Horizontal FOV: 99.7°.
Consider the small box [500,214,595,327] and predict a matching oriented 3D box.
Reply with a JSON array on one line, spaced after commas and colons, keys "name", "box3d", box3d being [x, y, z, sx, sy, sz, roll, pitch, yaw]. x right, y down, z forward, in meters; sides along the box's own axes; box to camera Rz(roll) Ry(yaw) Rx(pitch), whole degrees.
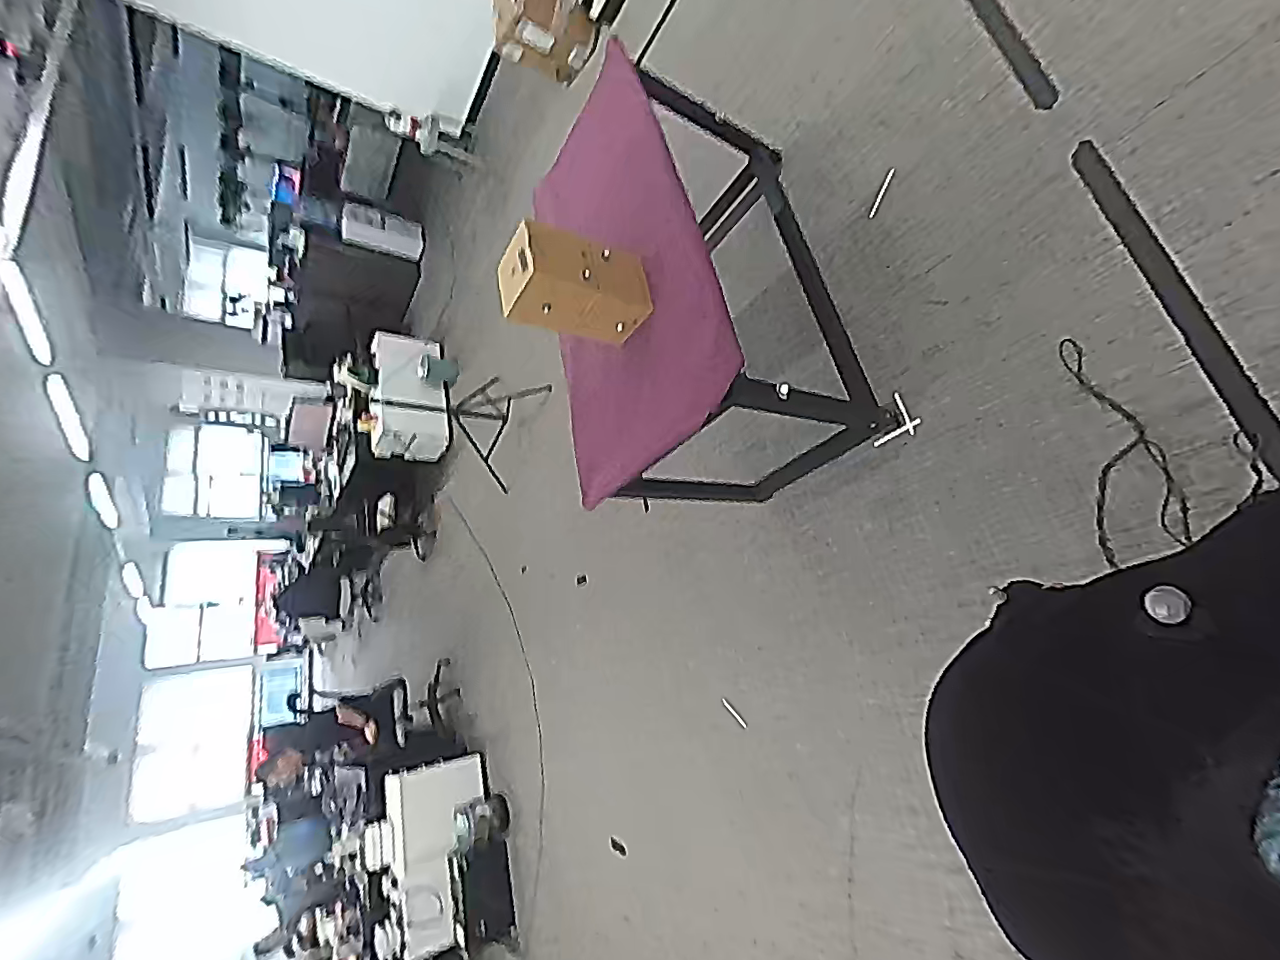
[{"name": "small box", "box3d": [-0.221, -0.500, 1.316, 0.179, 0.176, 0.168, -37, 58, 47]}]

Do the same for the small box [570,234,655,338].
[{"name": "small box", "box3d": [-0.084, -0.496, 1.408, 0.168, 0.176, 0.179, -35, 60, 48]}]
